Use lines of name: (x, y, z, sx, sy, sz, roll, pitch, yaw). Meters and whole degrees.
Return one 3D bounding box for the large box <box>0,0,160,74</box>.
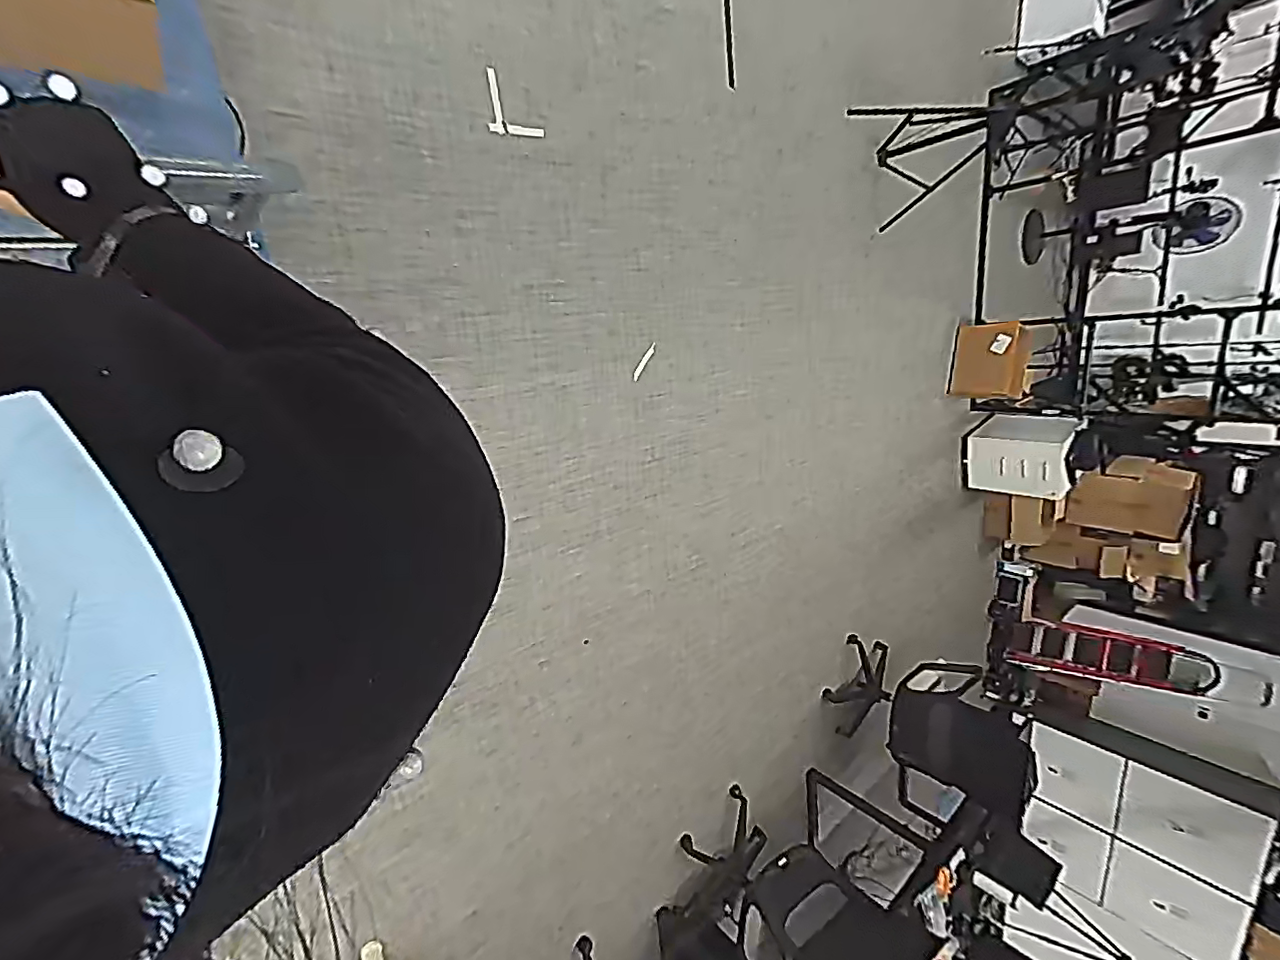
large box: (-0.899, -0.765, 0.660, 0.408, 0.320, 0.320, -17, 108, -36)
